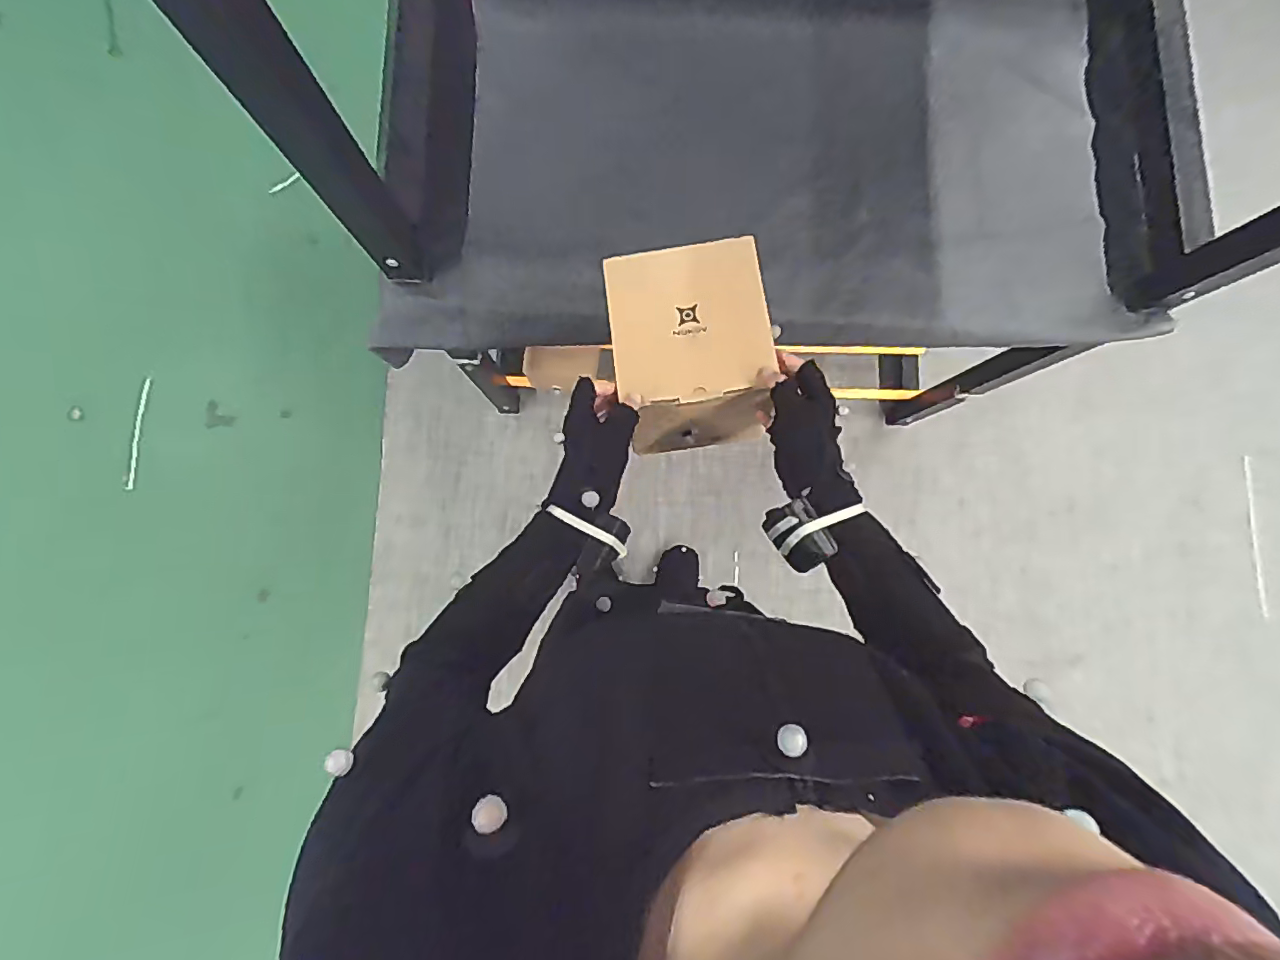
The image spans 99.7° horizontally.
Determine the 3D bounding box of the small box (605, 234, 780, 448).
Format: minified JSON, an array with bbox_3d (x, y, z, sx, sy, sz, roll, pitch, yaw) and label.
[{"bbox_3d":[0.056,-0.152,0.639,0.168,0.176,0.179,-8,76,3],"label":"small box"}]
